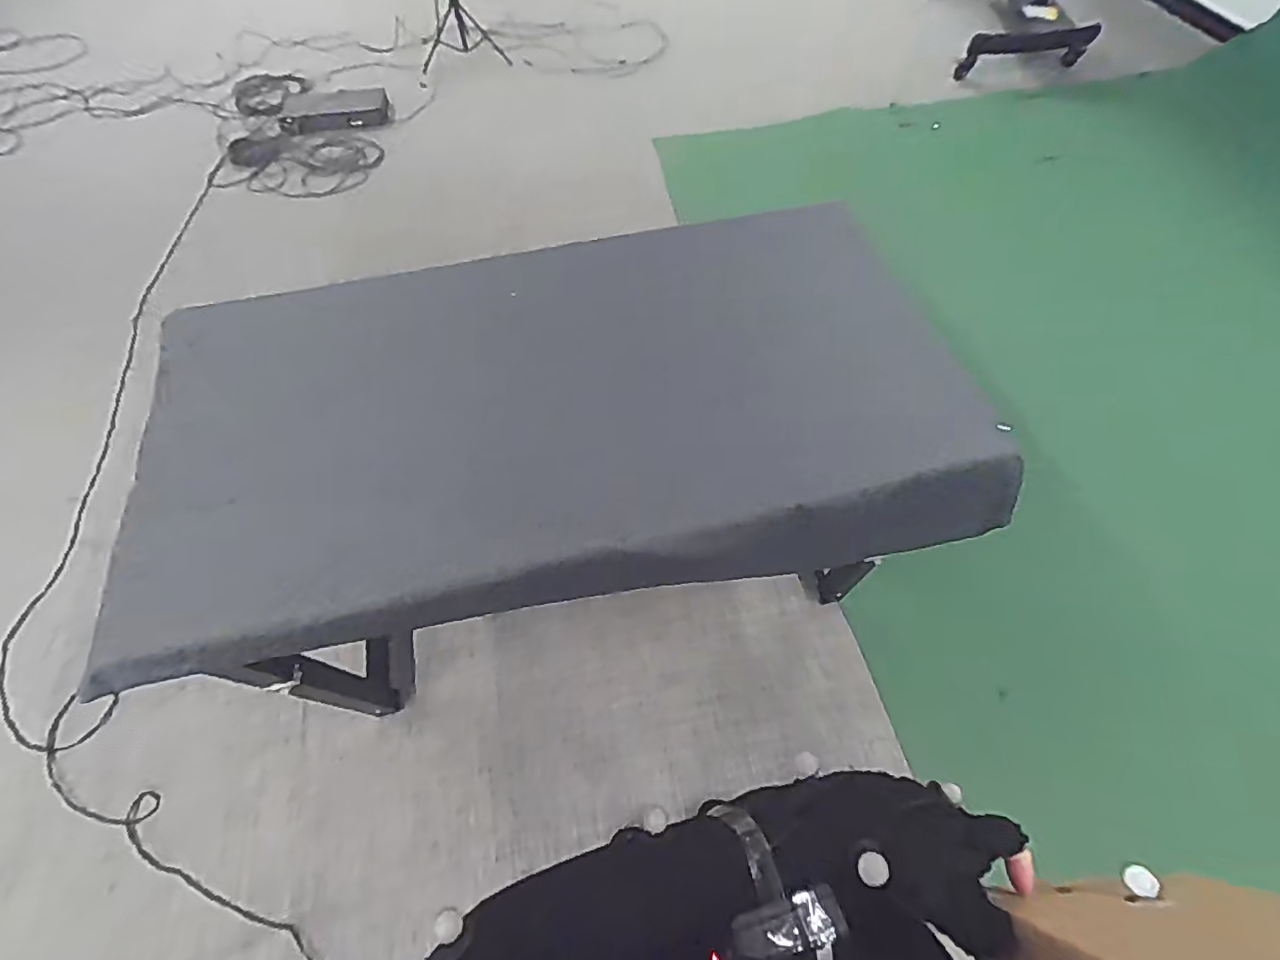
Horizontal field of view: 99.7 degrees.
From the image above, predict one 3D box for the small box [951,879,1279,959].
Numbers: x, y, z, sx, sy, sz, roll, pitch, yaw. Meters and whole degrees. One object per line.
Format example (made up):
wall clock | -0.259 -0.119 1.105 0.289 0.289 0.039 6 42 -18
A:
small box | 0.292 0.325 0.267 0.168 0.176 0.179 0 65 -1
